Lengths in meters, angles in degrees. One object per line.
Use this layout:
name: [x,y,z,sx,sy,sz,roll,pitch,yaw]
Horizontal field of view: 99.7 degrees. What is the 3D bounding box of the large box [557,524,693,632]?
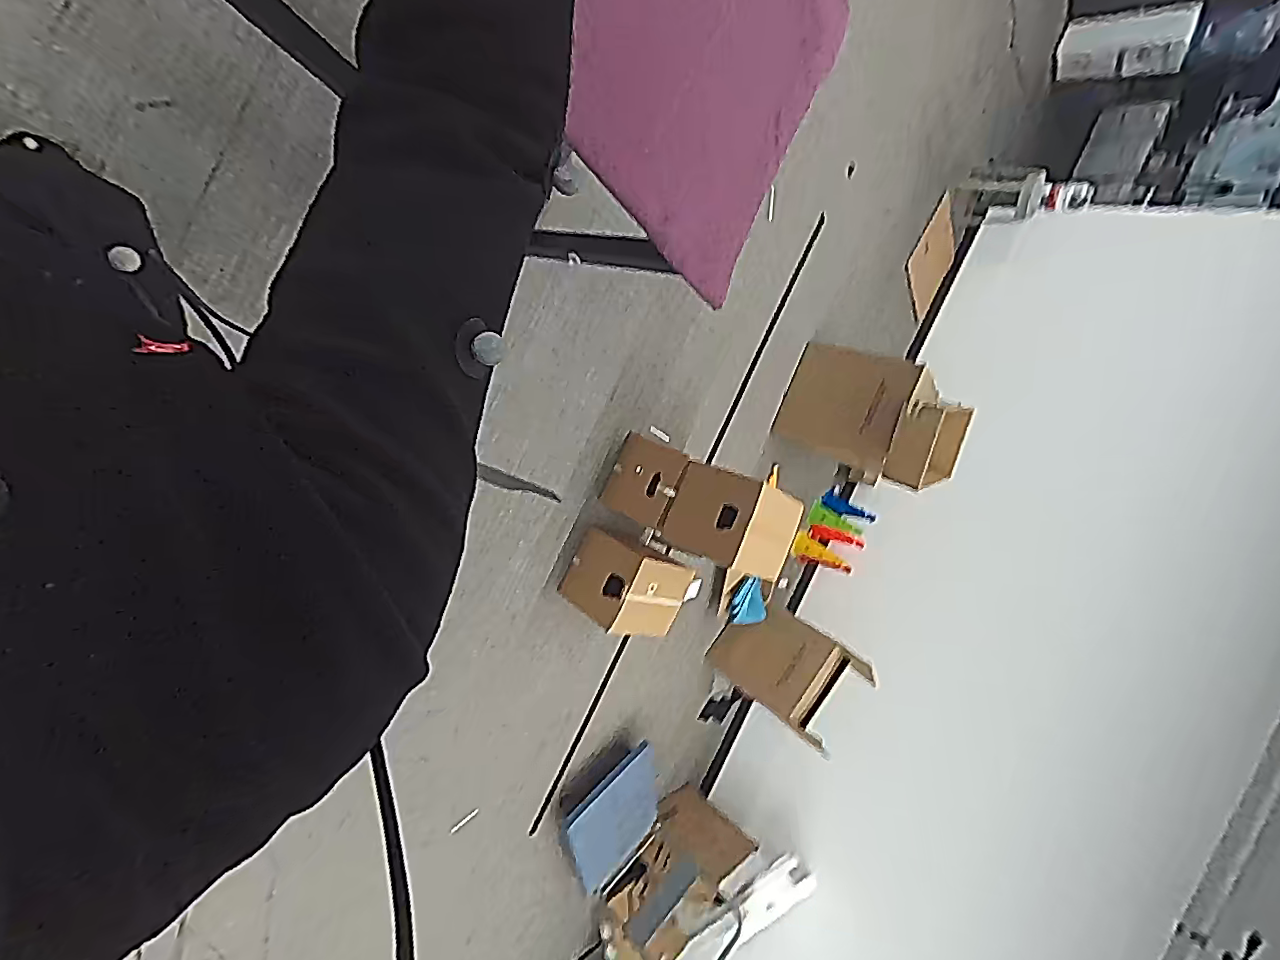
large box: [-0.056,0.405,2.217,0.408,0.320,0.320,24,91,-51]
